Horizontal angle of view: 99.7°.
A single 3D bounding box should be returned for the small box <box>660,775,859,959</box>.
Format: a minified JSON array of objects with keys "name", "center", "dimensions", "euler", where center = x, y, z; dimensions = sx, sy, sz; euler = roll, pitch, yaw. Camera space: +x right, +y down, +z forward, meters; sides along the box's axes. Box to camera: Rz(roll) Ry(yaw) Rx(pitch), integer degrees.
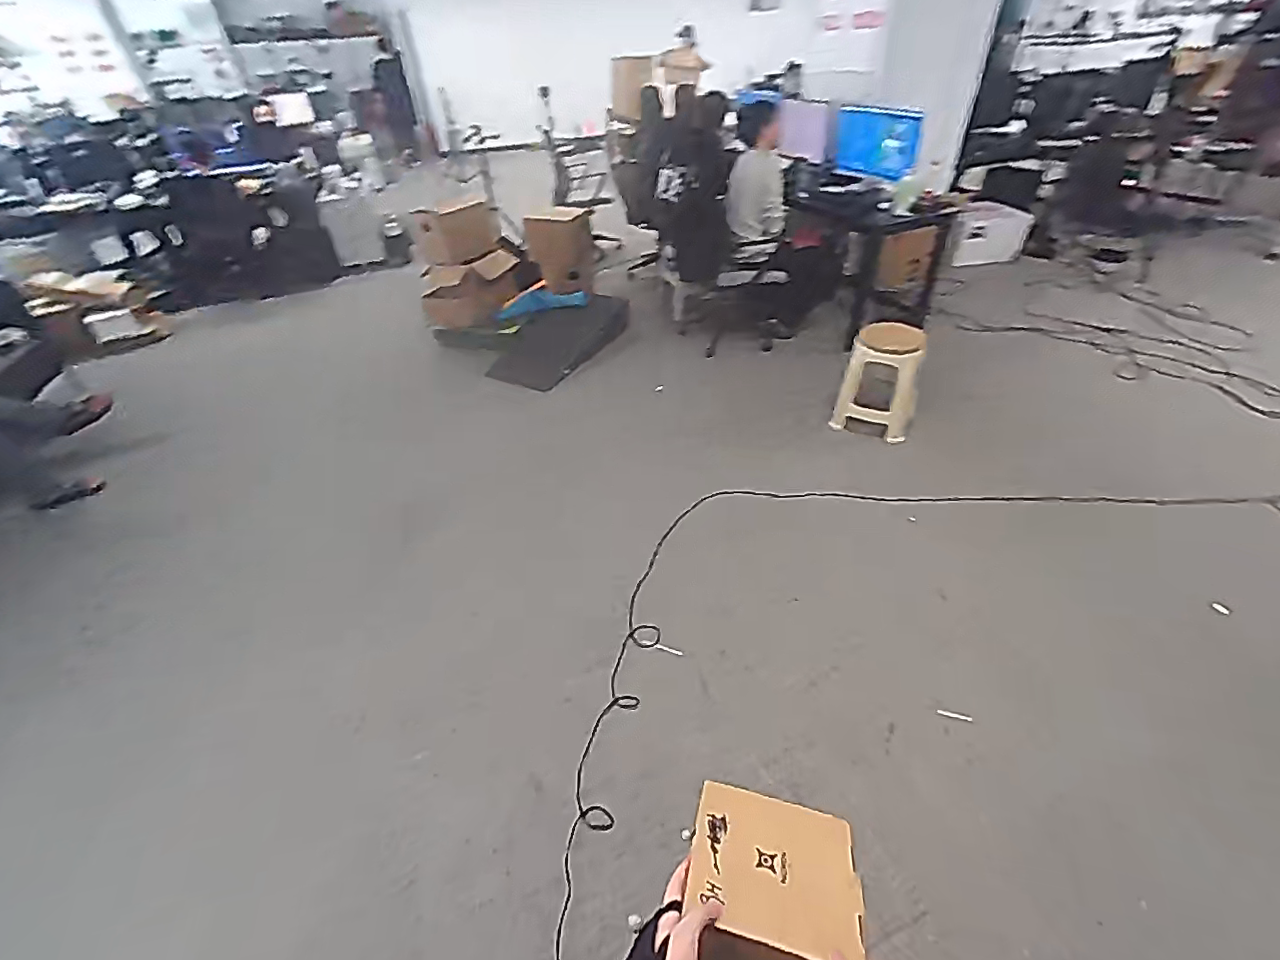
[{"name":"small box","center":[0.127,0.484,0.611],"dimensions":[0.179,0.176,0.168],"euler":[12,20,10]}]
